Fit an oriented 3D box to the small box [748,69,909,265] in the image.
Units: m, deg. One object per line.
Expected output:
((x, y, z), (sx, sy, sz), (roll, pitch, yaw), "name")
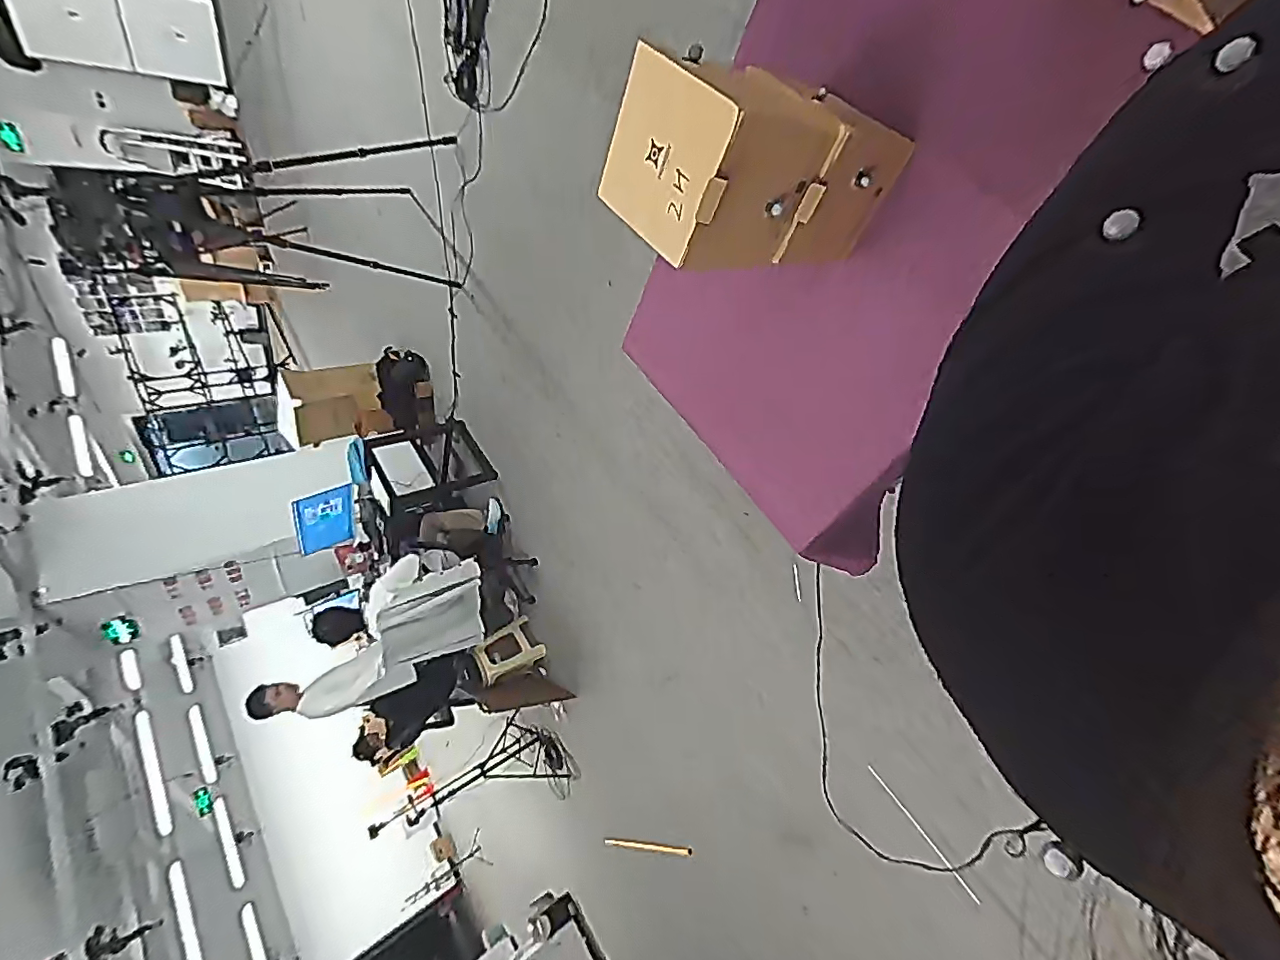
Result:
((0.222, -0.417, 0.736), (0.179, 0.176, 0.168), (53, 139, 24), "small box")

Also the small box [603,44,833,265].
((0.088, -0.376, 0.648), (0.179, 0.176, 0.168), (52, 139, 24), "small box")

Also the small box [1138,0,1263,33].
((0.449, -0.488, 0.414), (0.179, 0.176, 0.168), (55, 141, 20), "small box")
